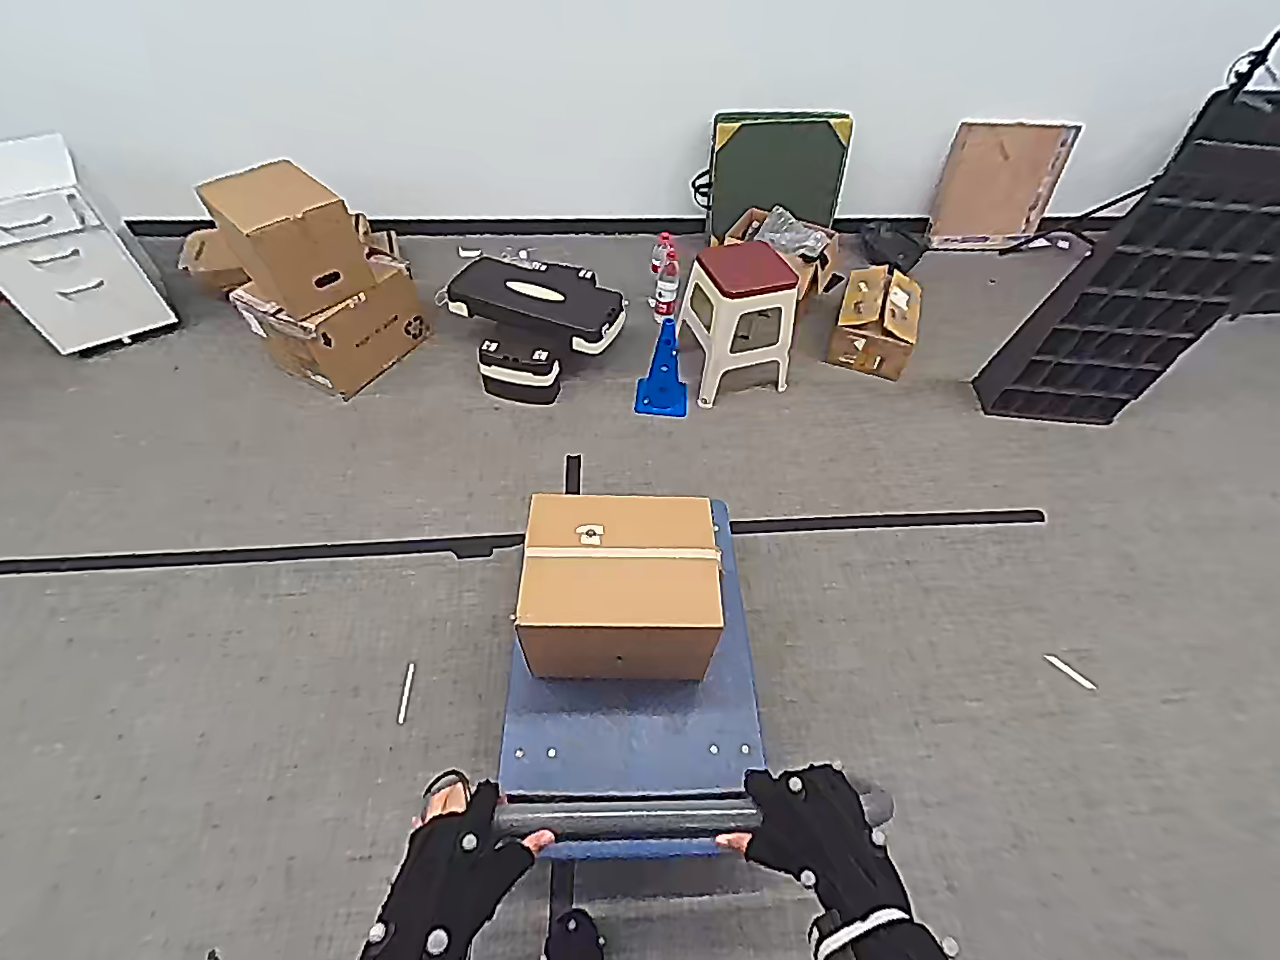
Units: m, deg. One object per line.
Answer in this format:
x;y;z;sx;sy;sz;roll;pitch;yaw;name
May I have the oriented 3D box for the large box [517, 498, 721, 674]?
-0.045;0.252;1.253;0.408;0.320;0.320;1;52;-2;large box
